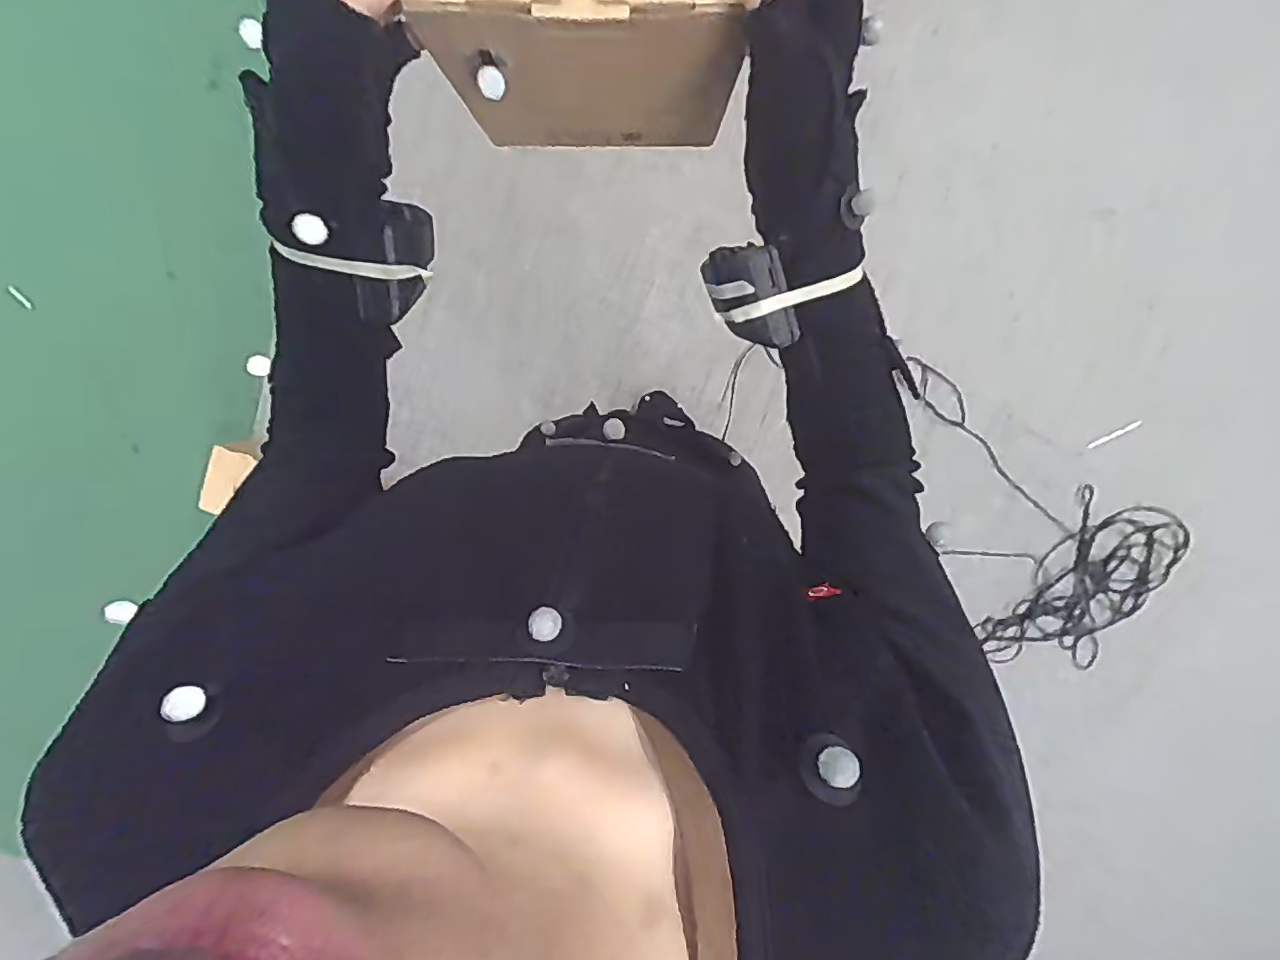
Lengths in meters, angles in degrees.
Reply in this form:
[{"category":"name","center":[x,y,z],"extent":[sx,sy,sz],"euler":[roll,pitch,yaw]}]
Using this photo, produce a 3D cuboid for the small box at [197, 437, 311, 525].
[{"category":"small box","center":[-1.016,-0.004,1.438],"extent":[0.168,0.176,0.179],"euler":[20,98,-2]}]
